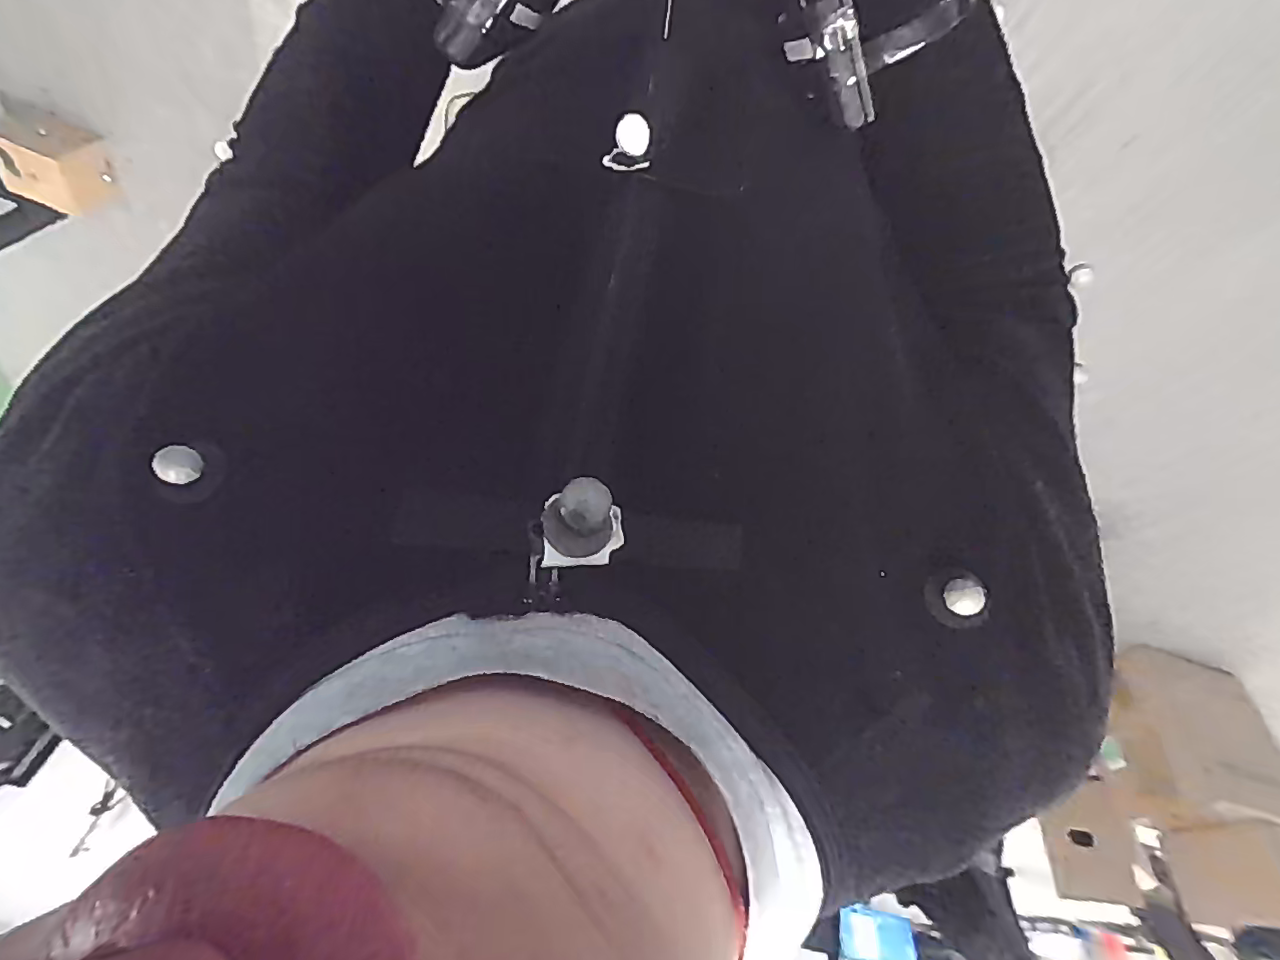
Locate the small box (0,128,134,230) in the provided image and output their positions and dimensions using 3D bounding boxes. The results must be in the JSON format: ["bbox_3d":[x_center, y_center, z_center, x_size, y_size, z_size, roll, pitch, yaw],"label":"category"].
[{"bbox_3d":[-1.564,-0.831,1.483,0.179,0.176,0.168,21,139,-12],"label":"small box"}]
